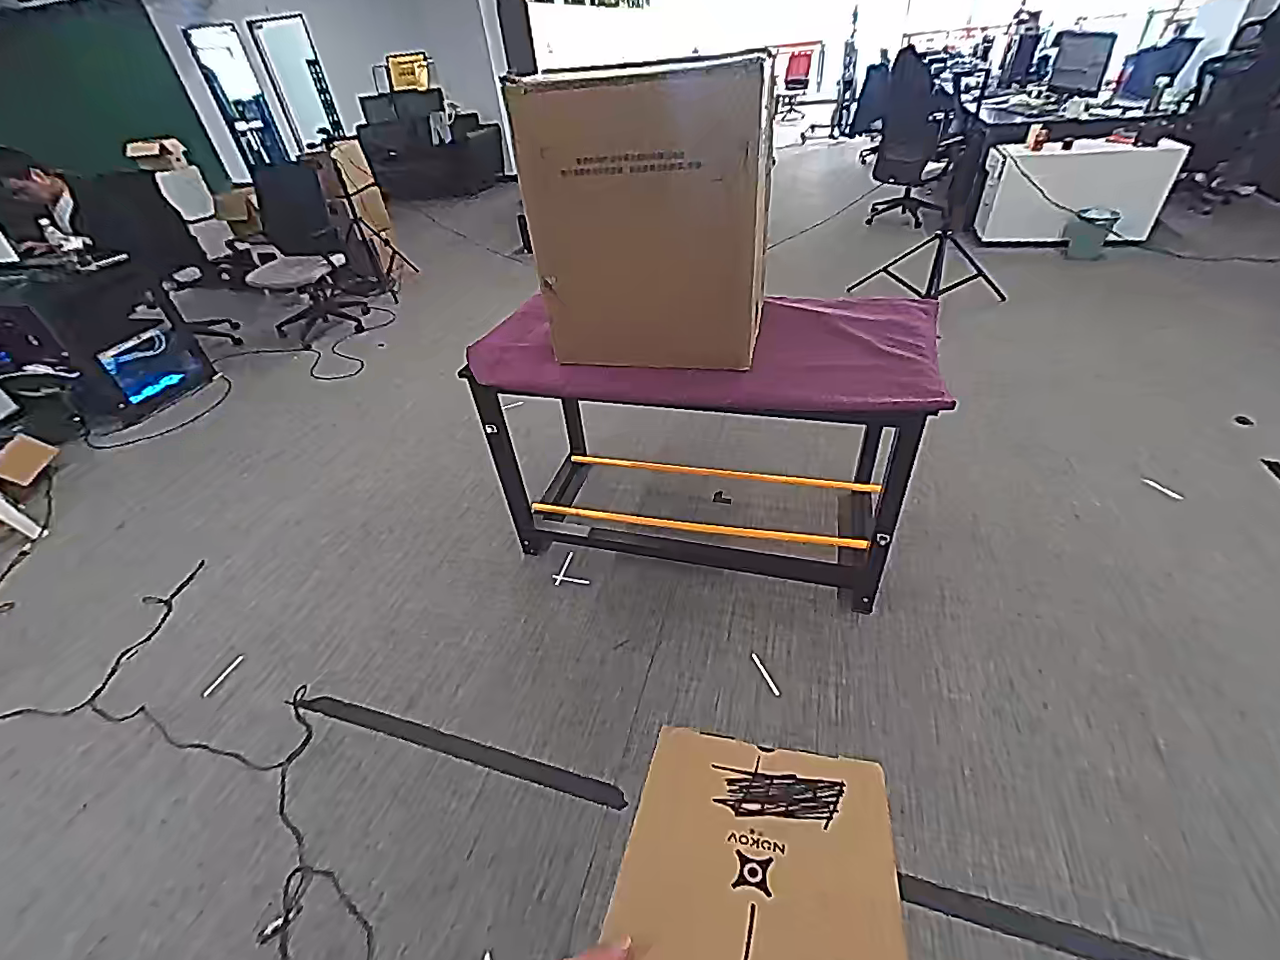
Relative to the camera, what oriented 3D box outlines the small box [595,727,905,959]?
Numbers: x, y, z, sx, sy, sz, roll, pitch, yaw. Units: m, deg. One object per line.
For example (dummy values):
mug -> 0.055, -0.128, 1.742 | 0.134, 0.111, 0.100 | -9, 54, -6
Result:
small box -> 0.080, 0.313, 0.375 | 0.168, 0.176, 0.179 | 2, 25, 17
